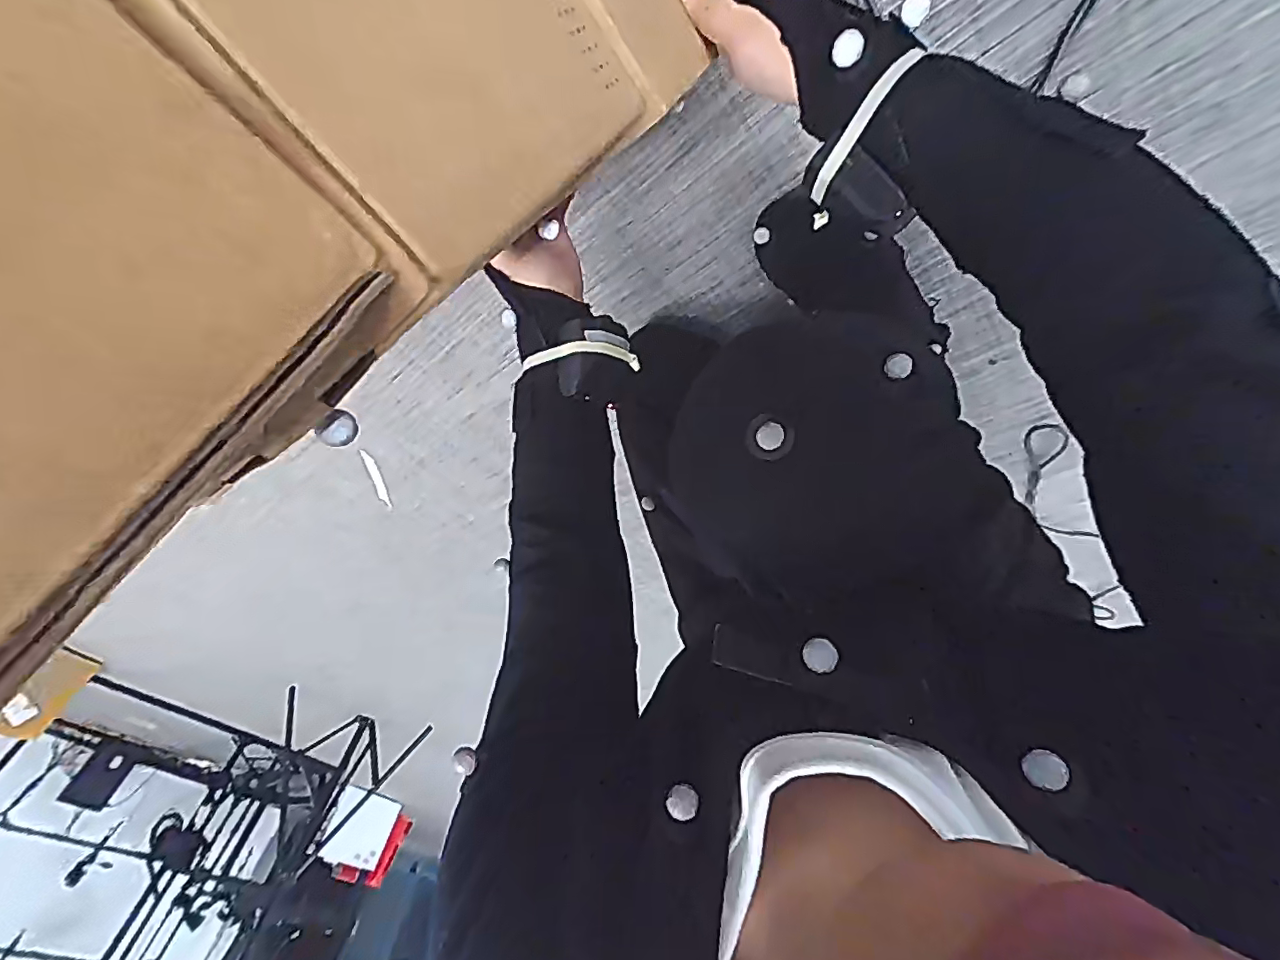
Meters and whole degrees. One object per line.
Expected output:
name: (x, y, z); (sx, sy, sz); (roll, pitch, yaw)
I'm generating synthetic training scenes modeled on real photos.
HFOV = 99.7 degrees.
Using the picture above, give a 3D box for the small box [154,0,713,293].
small box: (-0.081, -0.237, 0.278); (0.179, 0.176, 0.168); (-21, 124, 32)
